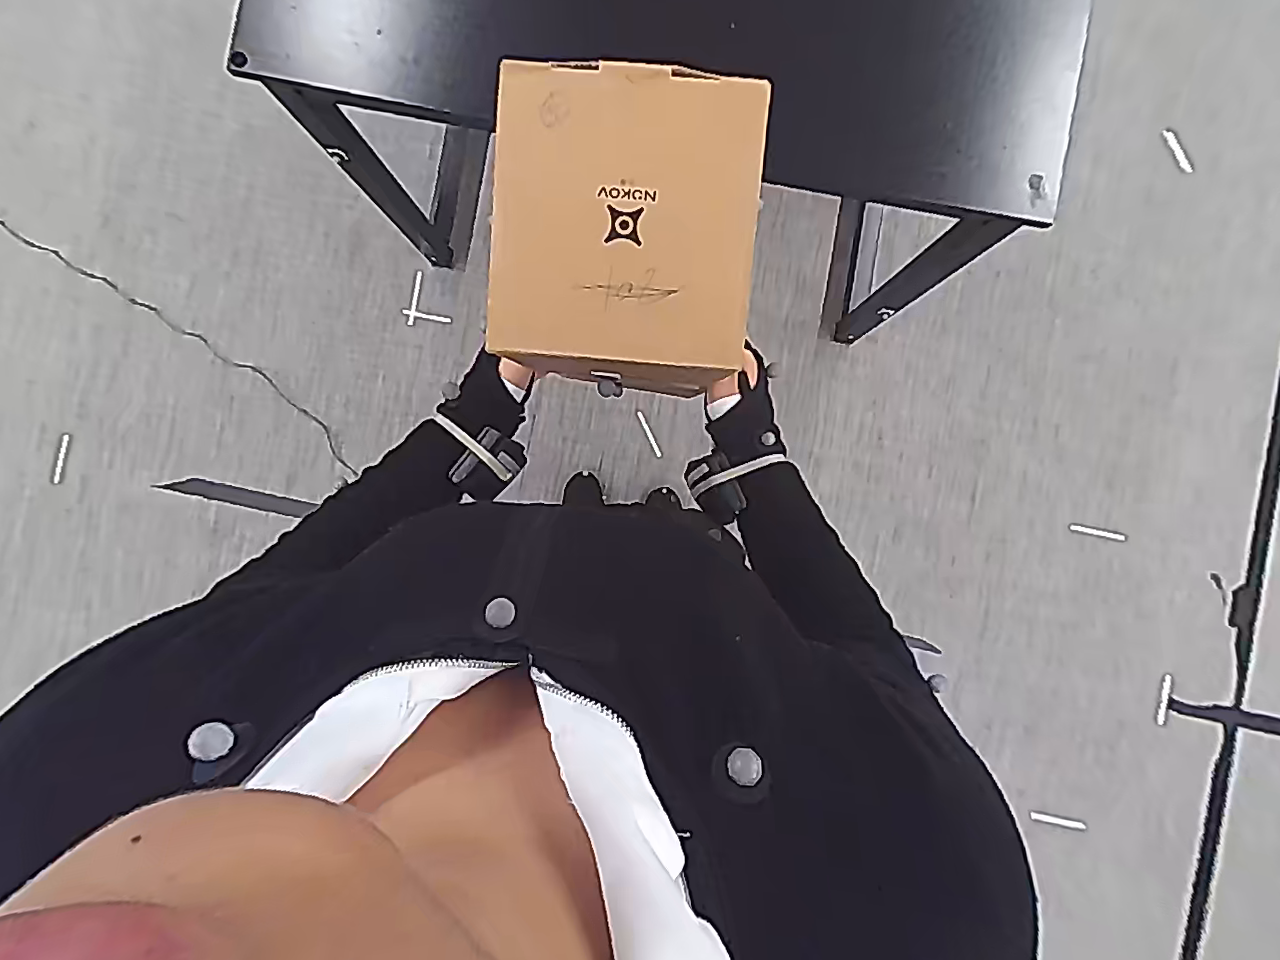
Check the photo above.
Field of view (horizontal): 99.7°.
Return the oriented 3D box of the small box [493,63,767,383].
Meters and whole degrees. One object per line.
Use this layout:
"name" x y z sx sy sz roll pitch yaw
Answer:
"small box" -0.008 -0.175 0.424 0.168 0.176 0.179 4 97 0
